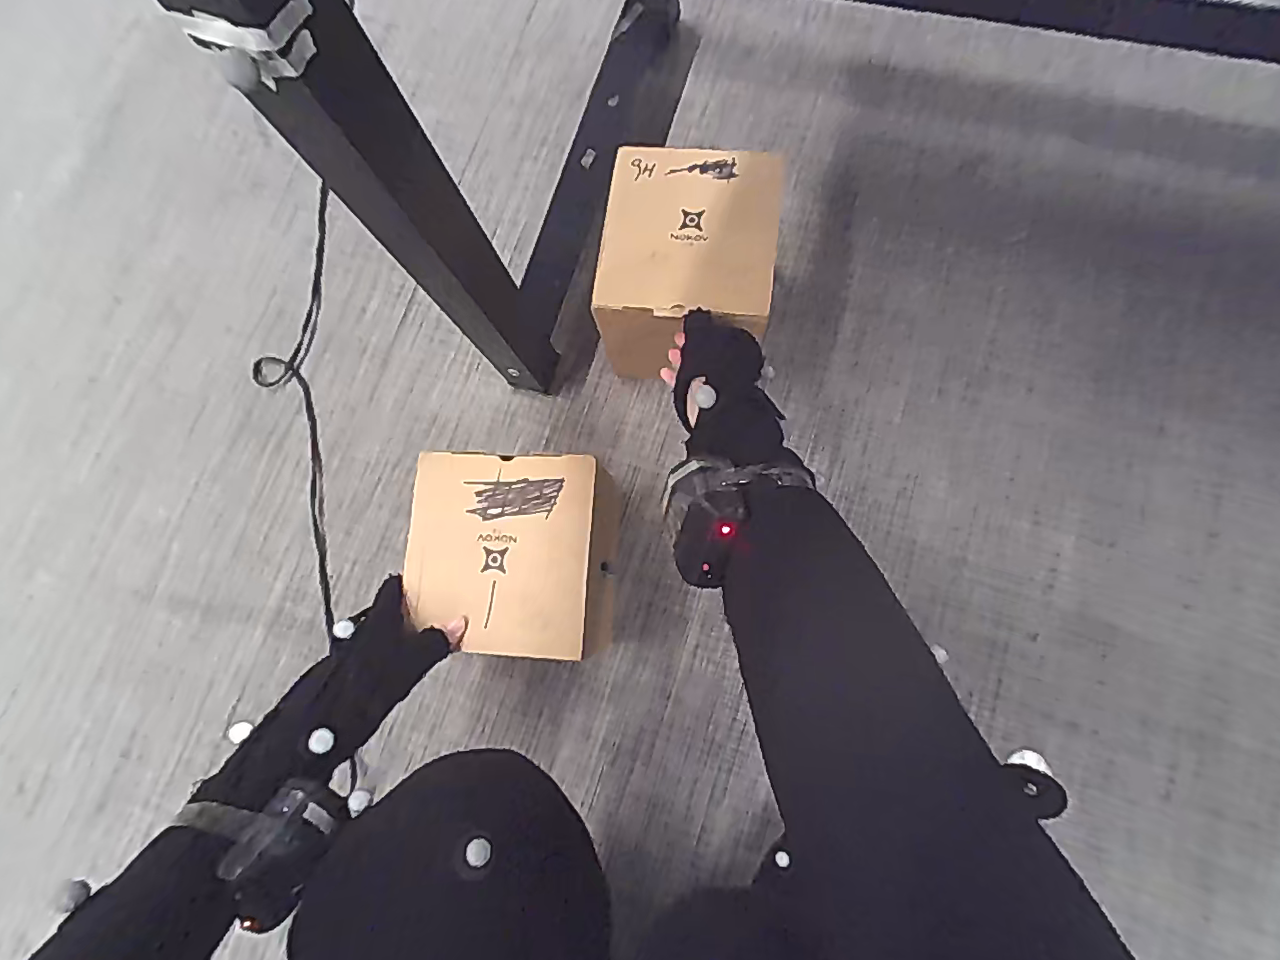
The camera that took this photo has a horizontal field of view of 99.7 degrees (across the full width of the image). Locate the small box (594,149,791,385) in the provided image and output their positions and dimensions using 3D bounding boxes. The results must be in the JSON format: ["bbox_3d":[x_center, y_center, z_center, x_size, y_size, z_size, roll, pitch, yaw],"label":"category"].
[{"bbox_3d":[0.057,-0.217,0.588,0.168,0.176,0.179,9,81,6],"label":"small box"}]
